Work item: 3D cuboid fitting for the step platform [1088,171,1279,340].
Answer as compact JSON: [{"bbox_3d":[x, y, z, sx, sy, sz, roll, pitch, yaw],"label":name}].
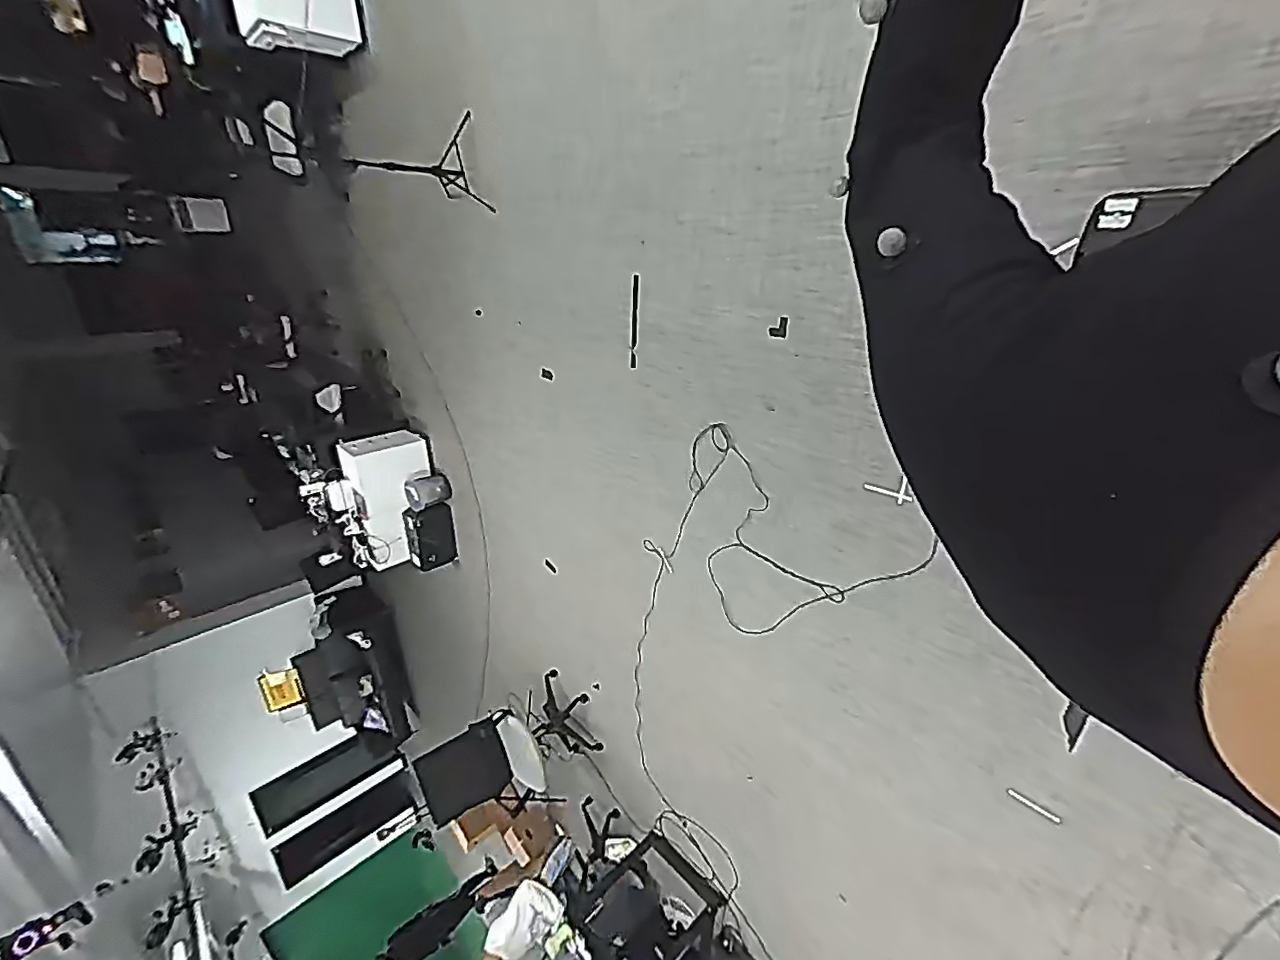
[{"bbox_3d":[1.233,-0.393,0.946,0.684,0.204,0.286,20,121,41],"label":"step platform"}]
